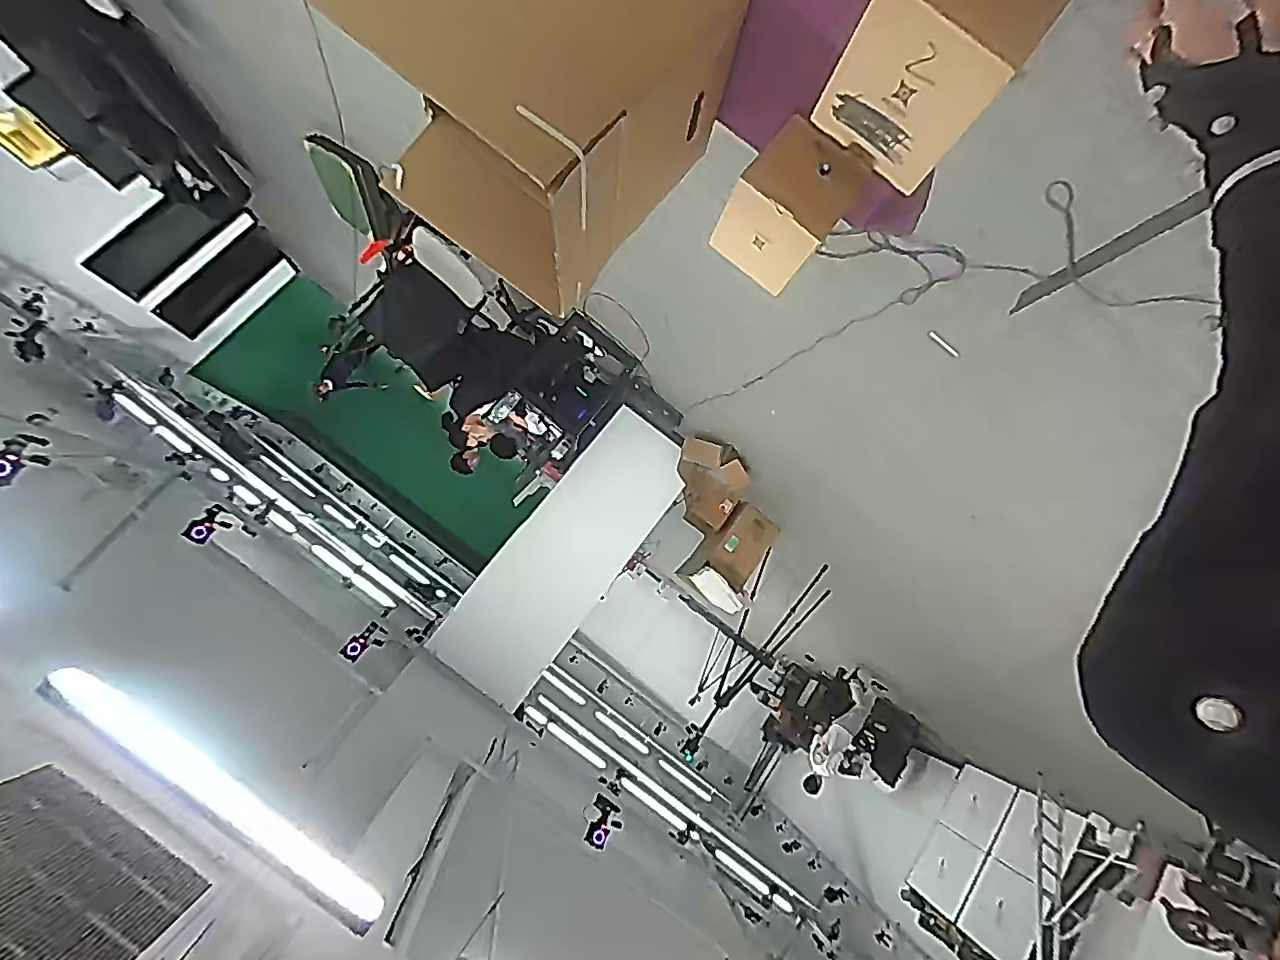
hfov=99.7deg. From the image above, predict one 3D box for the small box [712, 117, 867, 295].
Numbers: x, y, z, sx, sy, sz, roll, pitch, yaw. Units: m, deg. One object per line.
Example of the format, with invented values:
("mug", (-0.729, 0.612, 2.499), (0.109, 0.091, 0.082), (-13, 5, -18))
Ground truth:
("small box", (0.258, -0.471, 0.943), (0.168, 0.176, 0.179), (38, 165, -1))
